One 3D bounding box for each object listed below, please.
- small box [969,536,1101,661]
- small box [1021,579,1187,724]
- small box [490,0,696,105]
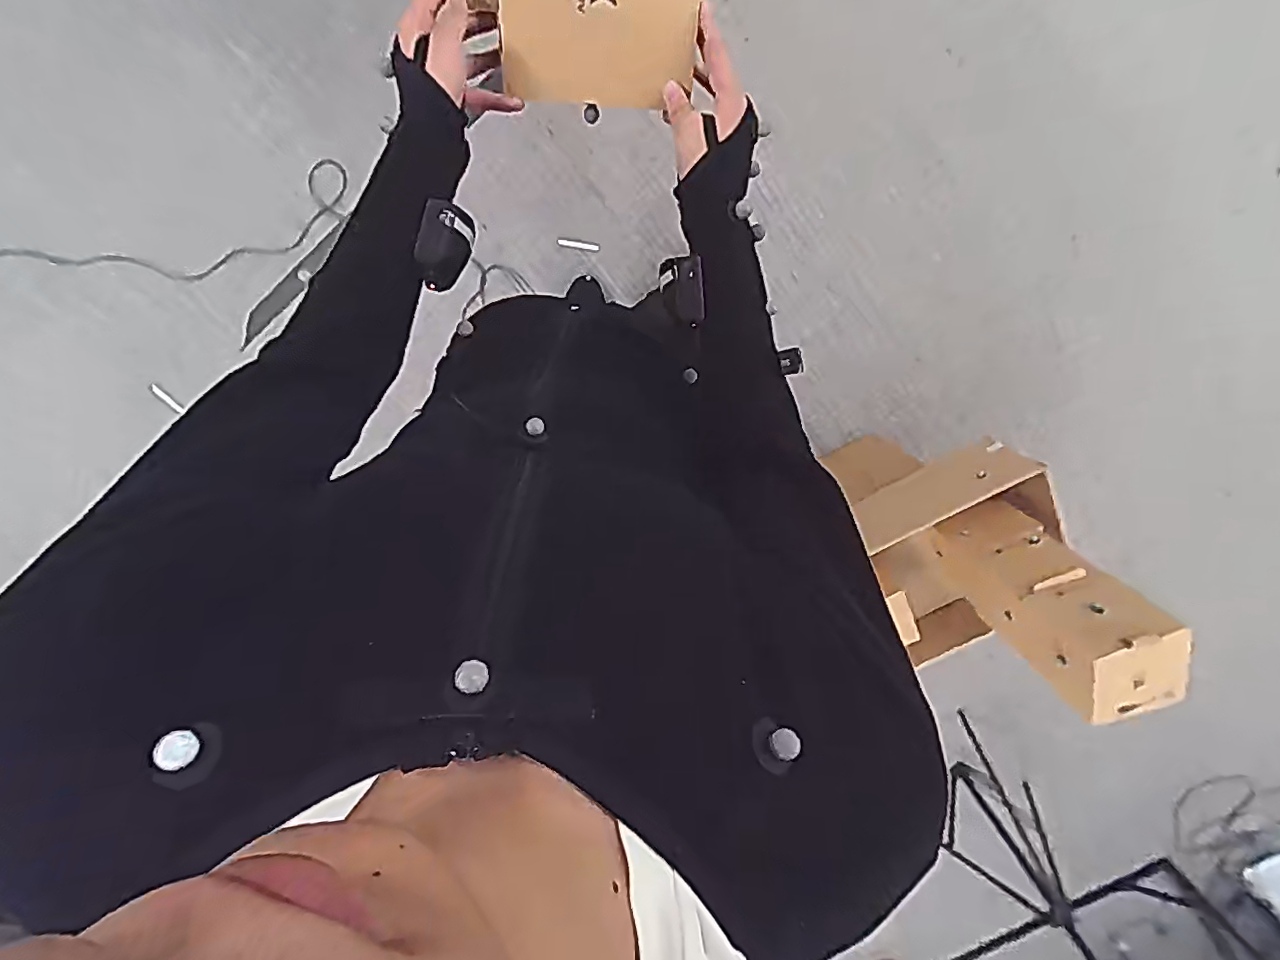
[{"bbox_3d":[0.829,0.240,1.146,0.168,0.176,0.179,-22,114,5],"label":"small box"},{"bbox_3d":[0.837,0.303,0.994,0.168,0.176,0.179,-18,114,4],"label":"small box"},{"bbox_3d":[-0.037,-0.465,0.509,0.179,0.176,0.168,4,127,0],"label":"small box"}]
